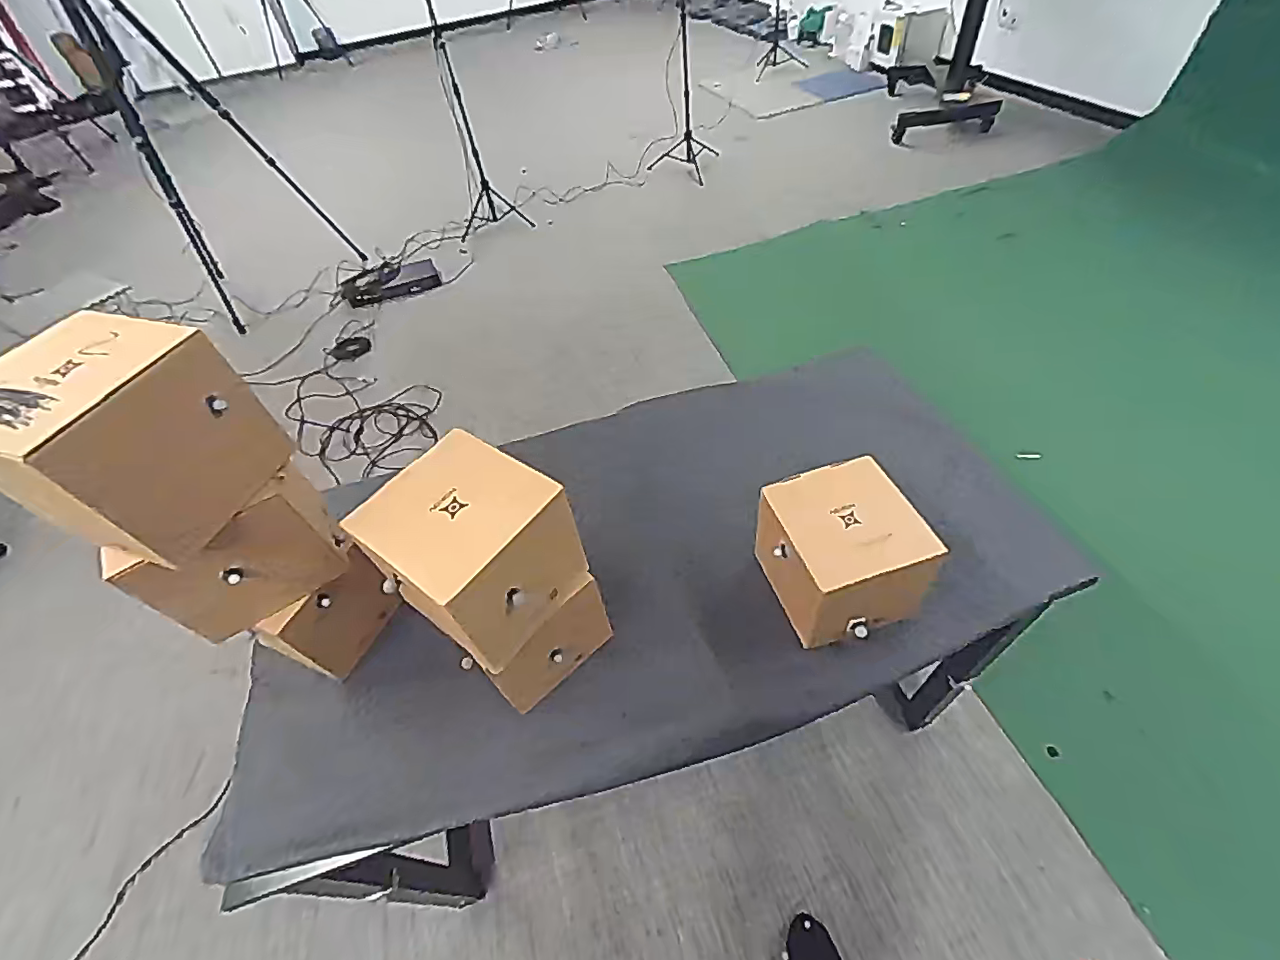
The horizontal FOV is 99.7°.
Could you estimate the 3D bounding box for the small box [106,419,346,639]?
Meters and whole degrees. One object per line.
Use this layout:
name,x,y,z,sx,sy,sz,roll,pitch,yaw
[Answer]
small box,-0.500,0.063,0.676,0.179,0.176,0.168,-32,54,-17

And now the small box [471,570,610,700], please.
small box,-0.160,0.176,0.748,0.168,0.176,0.179,-38,55,-22

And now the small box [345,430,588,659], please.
small box,-0.182,0.079,0.619,0.179,0.176,0.168,26,59,27

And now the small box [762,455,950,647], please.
small box,0.278,0.099,0.748,0.168,0.176,0.179,-17,49,-5

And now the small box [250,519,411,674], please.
small box,-0.483,0.164,0.806,0.179,0.176,0.168,15,54,19
